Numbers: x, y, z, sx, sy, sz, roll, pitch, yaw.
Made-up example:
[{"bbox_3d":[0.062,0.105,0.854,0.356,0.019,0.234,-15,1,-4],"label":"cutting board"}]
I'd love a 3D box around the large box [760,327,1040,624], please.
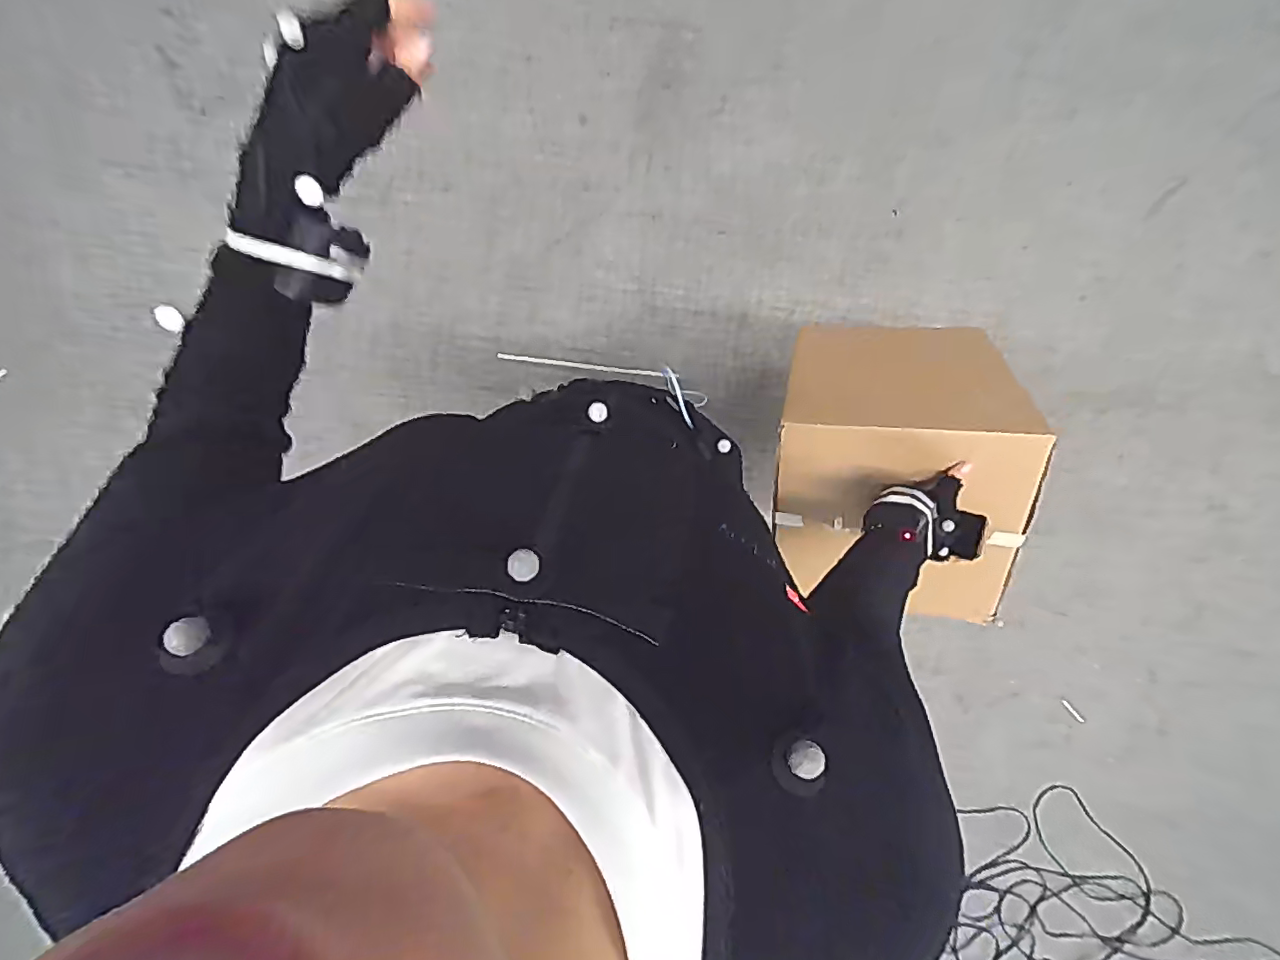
[{"bbox_3d":[0.388,-0.041,0.899,0.320,0.408,0.320,6,124,18],"label":"large box"}]
